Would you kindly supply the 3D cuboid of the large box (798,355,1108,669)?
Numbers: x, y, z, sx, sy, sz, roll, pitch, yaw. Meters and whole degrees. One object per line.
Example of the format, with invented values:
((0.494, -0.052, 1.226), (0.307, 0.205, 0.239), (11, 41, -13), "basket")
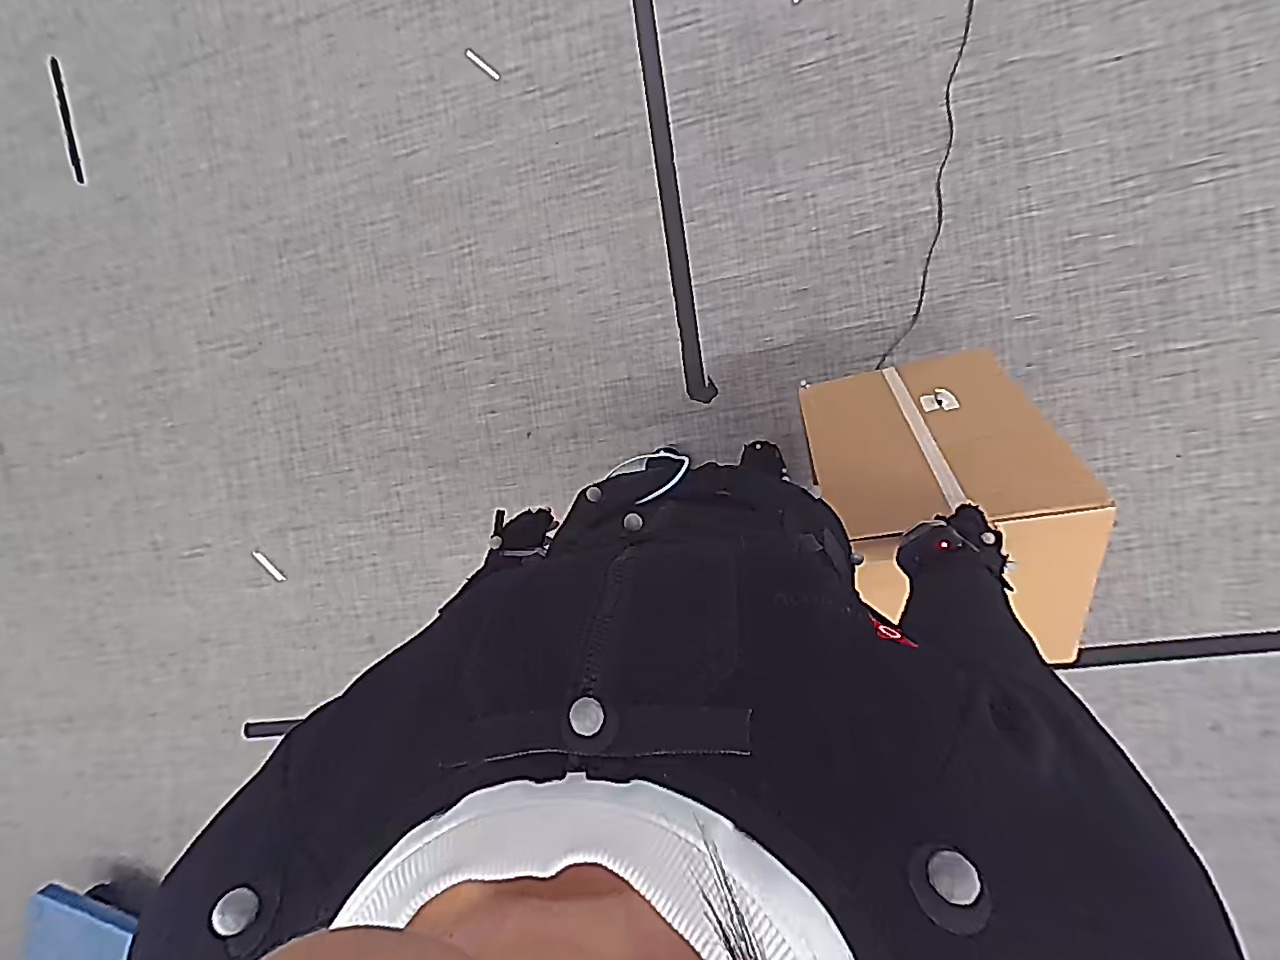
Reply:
((0.468, 0.046, 0.904), (0.320, 0.408, 0.320), (-10, 126, 15), "large box")
